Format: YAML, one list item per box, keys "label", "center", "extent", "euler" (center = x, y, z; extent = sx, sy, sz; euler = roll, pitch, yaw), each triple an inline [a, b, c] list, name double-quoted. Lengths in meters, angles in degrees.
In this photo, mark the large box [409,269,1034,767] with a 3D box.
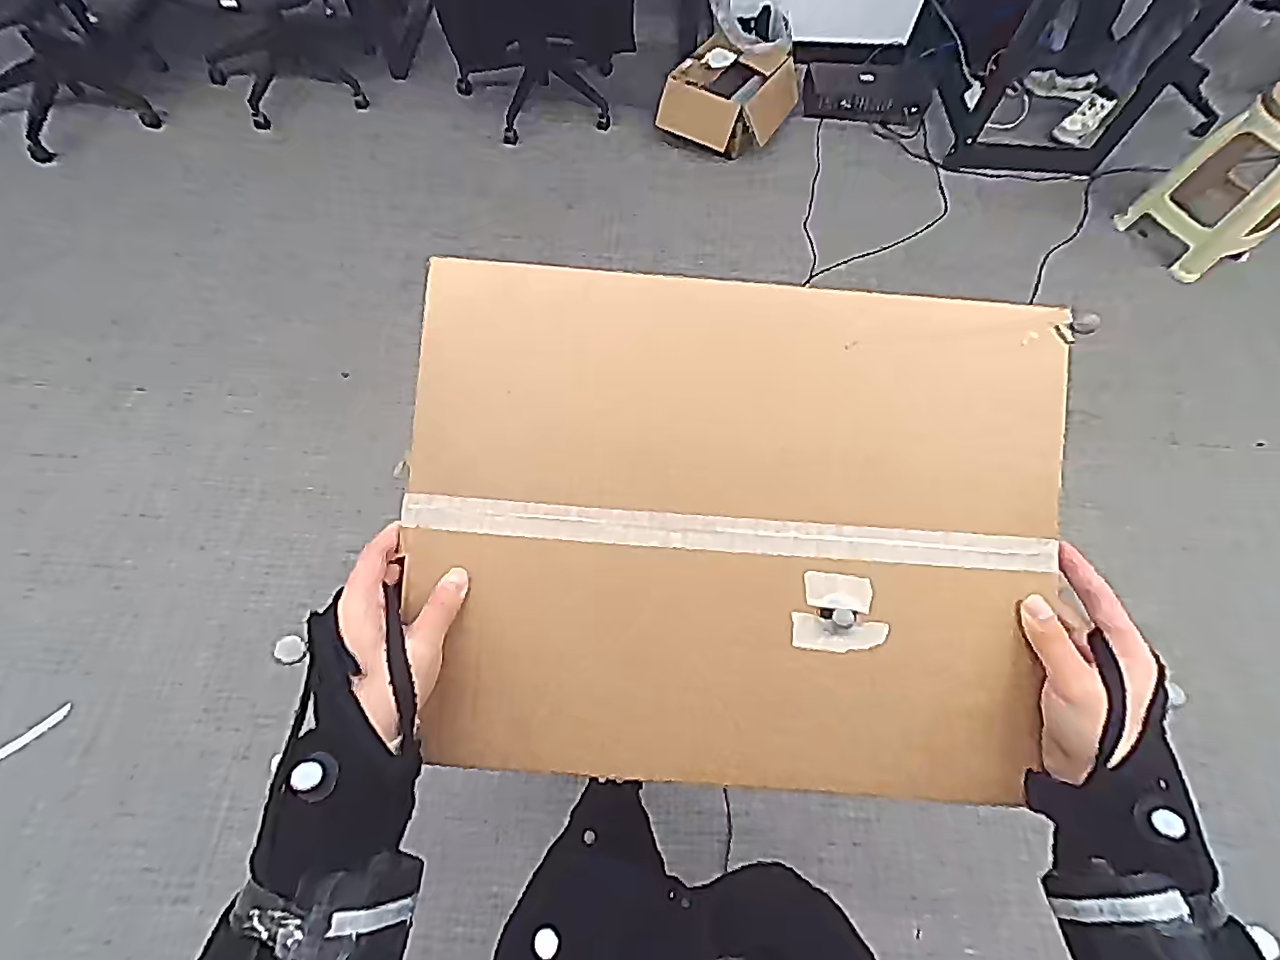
- label: "large box"
  center: [0.052, 0.029, 0.501]
  extent: [0.408, 0.320, 0.320]
  euler: [4, 90, -1]
